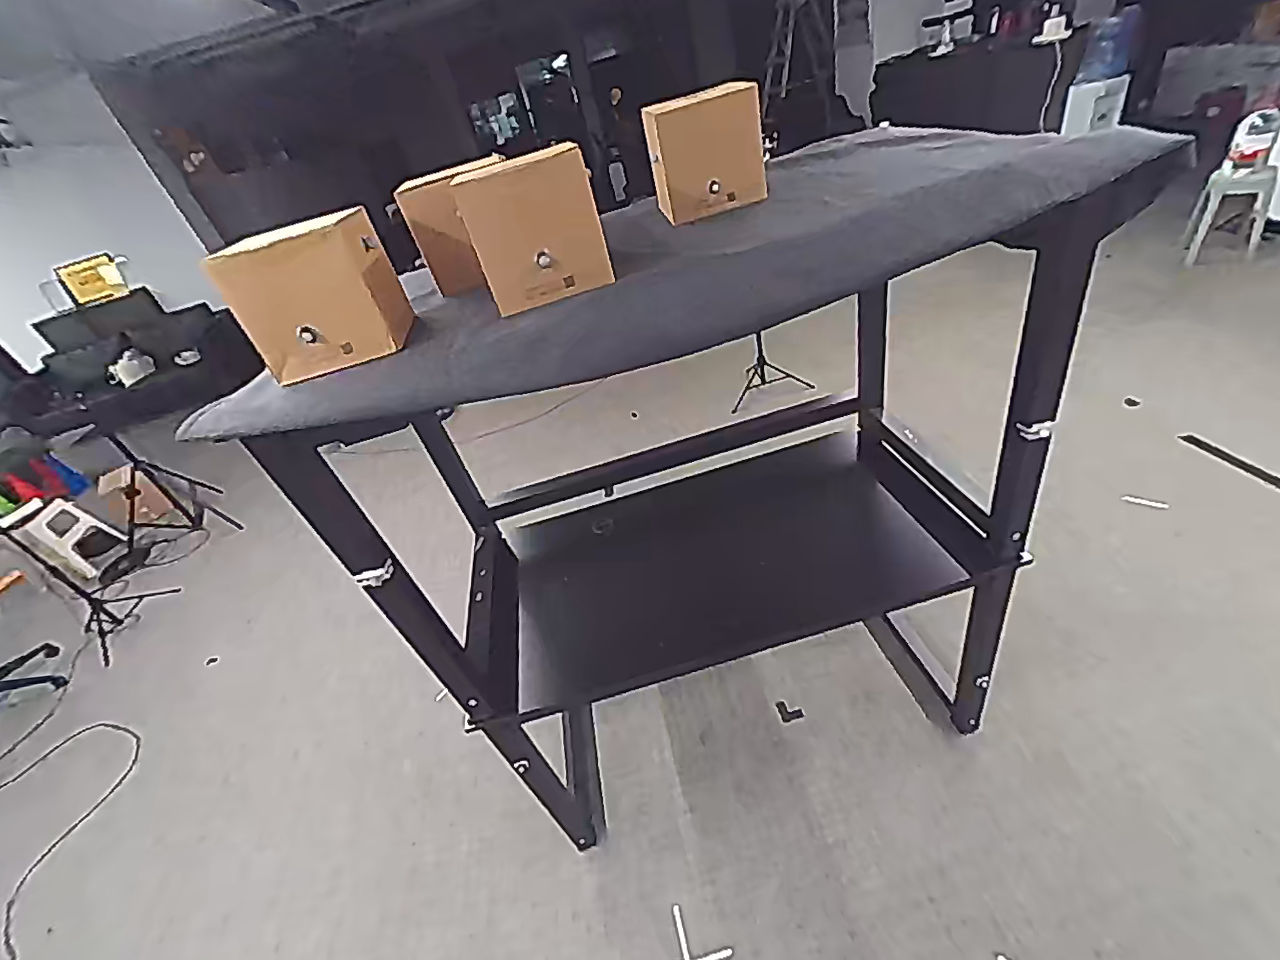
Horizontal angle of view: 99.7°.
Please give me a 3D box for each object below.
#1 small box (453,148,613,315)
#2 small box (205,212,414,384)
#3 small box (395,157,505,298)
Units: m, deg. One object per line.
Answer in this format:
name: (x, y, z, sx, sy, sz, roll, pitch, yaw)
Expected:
small box: (-0.146, -0.353, 0.769, 0.168, 0.176, 0.179, -18, 35, -2)
small box: (-0.436, -0.255, 0.753, 0.168, 0.176, 0.179, -18, 35, -3)
small box: (-0.293, -0.440, 0.942, 0.179, 0.176, 0.168, -18, 36, -3)
